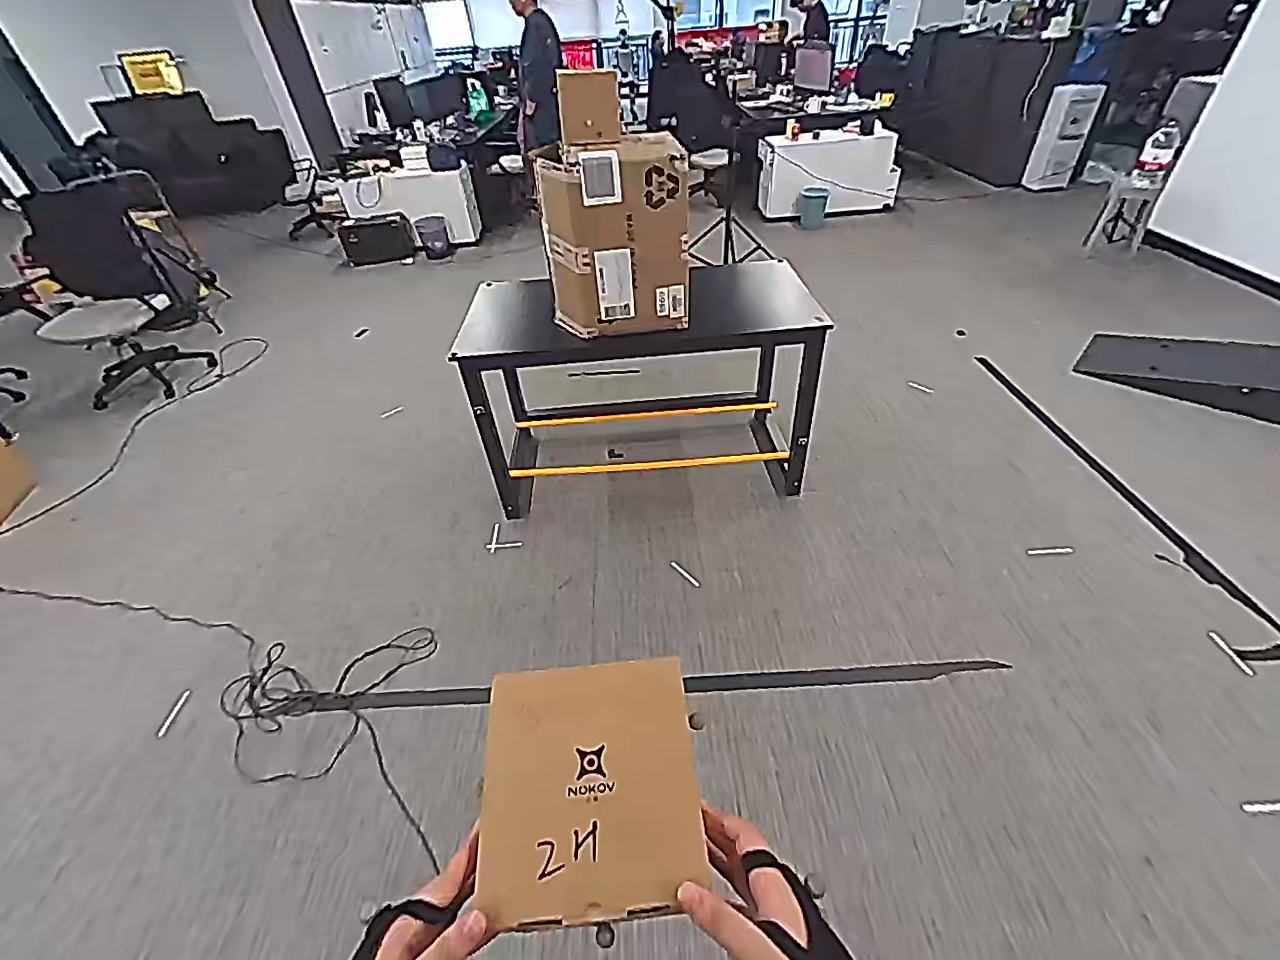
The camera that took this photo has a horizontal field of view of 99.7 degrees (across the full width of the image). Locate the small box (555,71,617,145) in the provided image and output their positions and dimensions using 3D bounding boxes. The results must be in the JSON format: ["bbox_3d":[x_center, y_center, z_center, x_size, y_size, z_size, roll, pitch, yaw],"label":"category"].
[{"bbox_3d":[-0.158,-1.086,1.578,0.168,0.176,0.179,-7,39,-5],"label":"small box"}]
